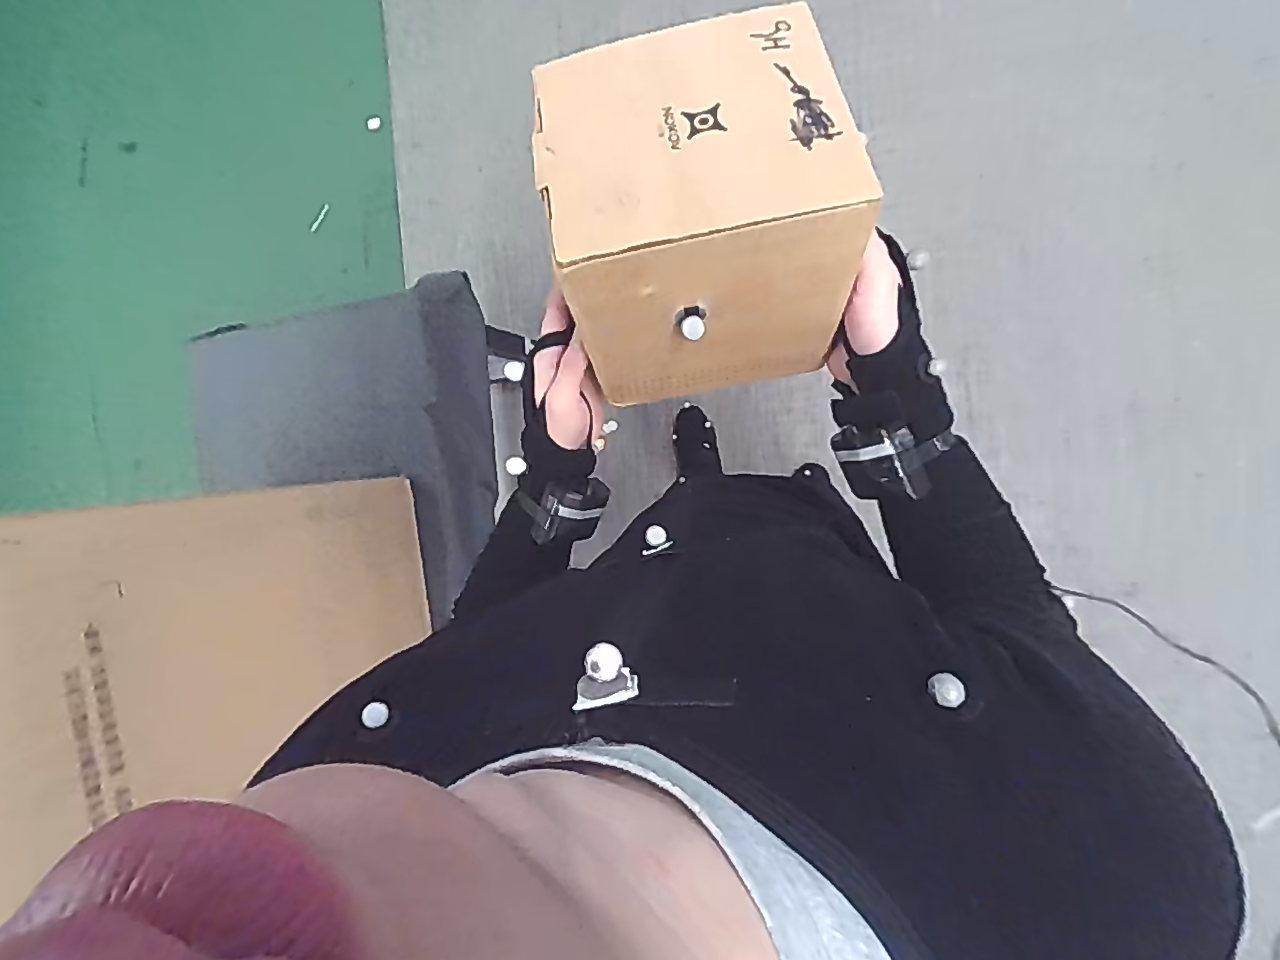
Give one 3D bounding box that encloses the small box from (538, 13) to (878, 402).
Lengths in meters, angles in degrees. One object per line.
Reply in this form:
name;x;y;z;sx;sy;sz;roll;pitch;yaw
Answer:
small box;0.039;-0.172;0.386;0.179;0.176;0.168;-10;70;4
